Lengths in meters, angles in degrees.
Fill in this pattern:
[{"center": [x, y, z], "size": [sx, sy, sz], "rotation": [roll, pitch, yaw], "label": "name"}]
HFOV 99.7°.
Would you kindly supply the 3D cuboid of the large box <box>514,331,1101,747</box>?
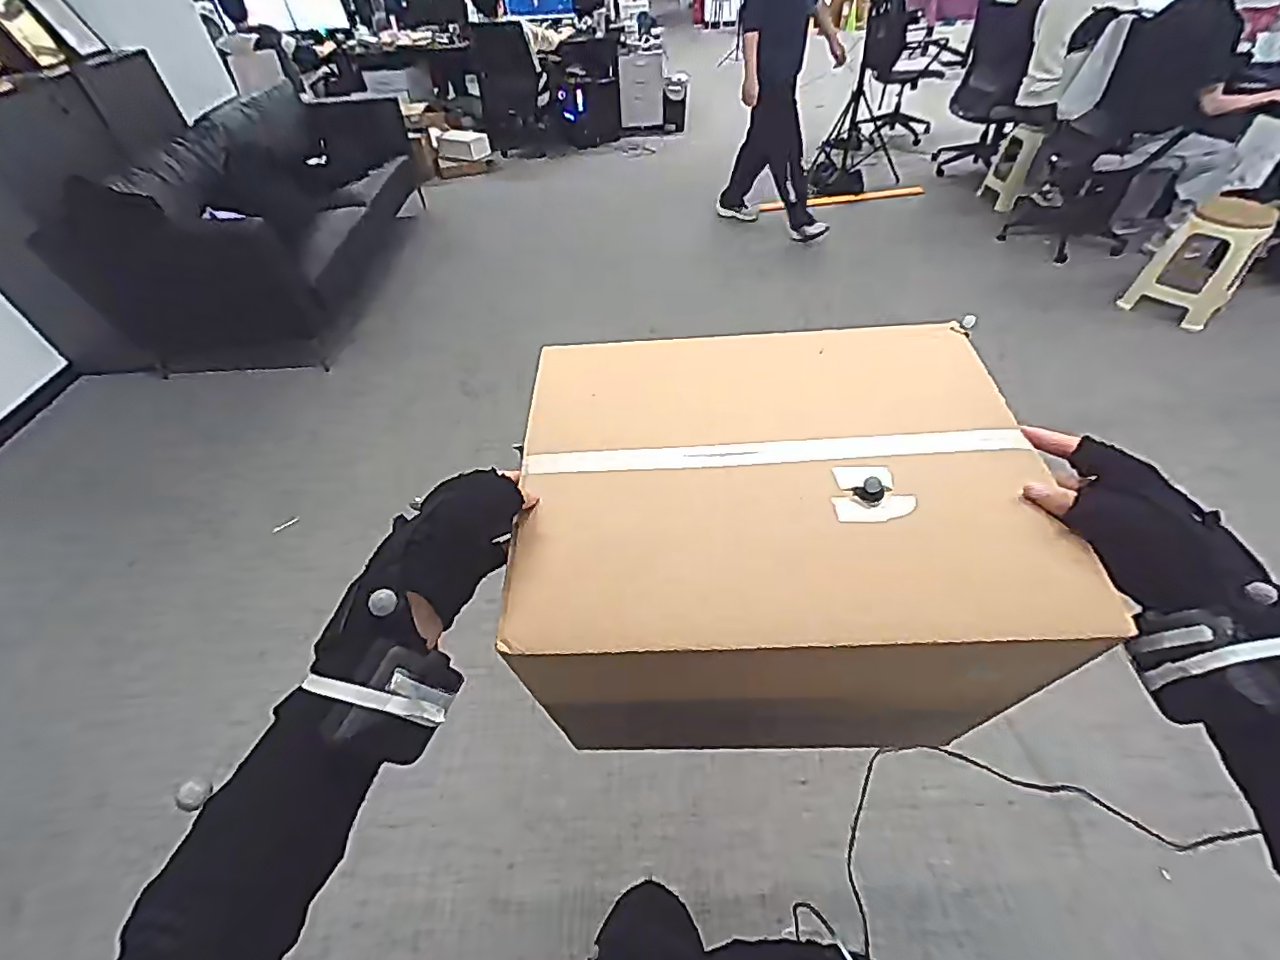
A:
[{"center": [0.115, 0.076, 0.571], "size": [0.408, 0.320, 0.320], "rotation": [-3, 53, 3], "label": "large box"}]
